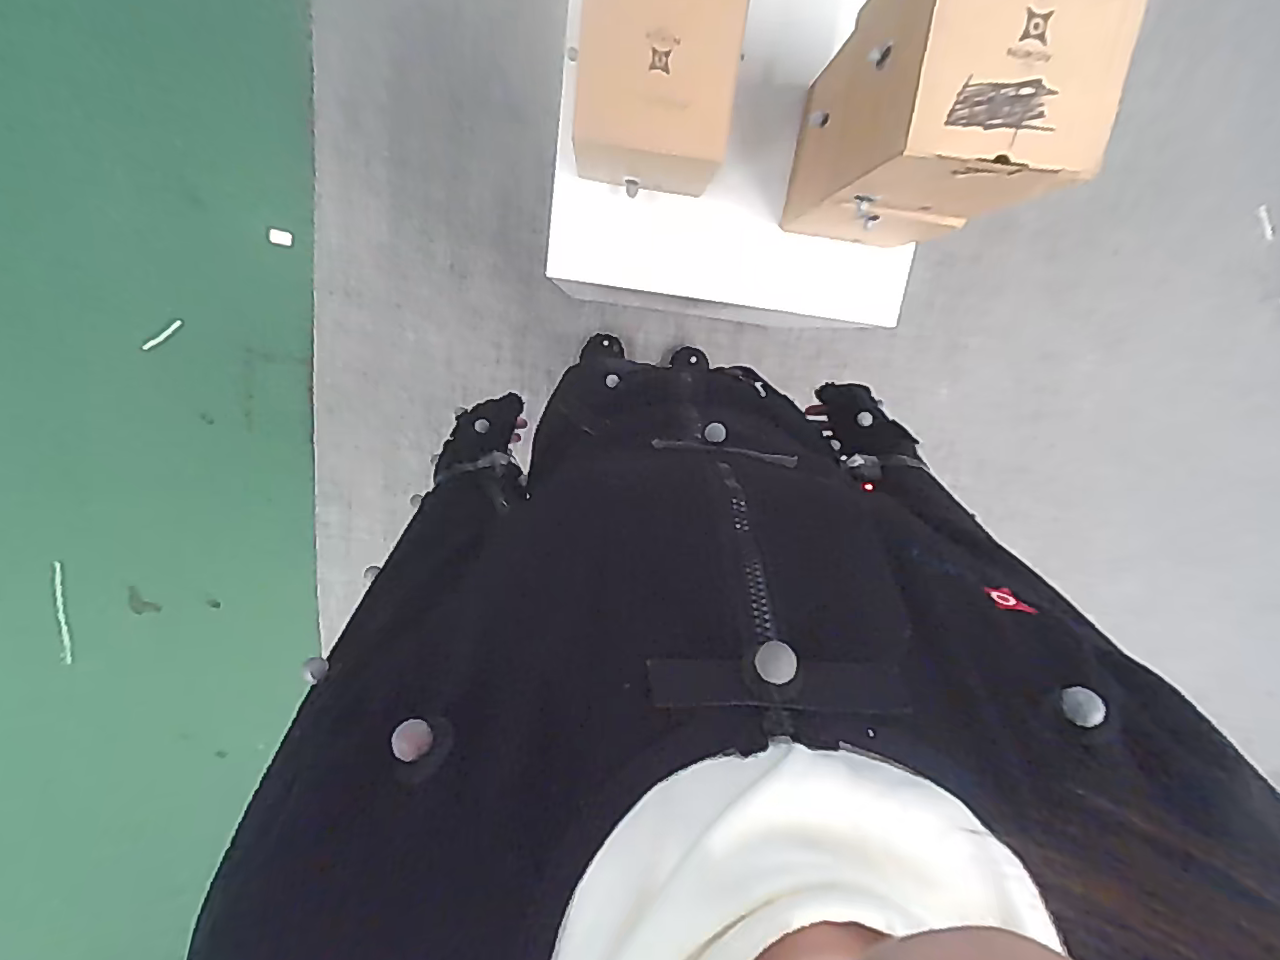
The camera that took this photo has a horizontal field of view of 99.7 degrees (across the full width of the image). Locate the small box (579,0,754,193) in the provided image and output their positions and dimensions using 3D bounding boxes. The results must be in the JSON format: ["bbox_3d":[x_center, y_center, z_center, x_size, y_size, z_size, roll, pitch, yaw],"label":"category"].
[{"bbox_3d":[0.022,-0.452,0.622,0.168,0.176,0.179,5,107,-3],"label":"small box"}]

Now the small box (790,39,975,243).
[{"bbox_3d":[0.293,-0.400,0.646,0.168,0.176,0.179,7,105,-3],"label":"small box"}]

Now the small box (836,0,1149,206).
[{"bbox_3d":[0.294,-0.361,0.485,0.168,0.176,0.179,4,105,-3],"label":"small box"}]
